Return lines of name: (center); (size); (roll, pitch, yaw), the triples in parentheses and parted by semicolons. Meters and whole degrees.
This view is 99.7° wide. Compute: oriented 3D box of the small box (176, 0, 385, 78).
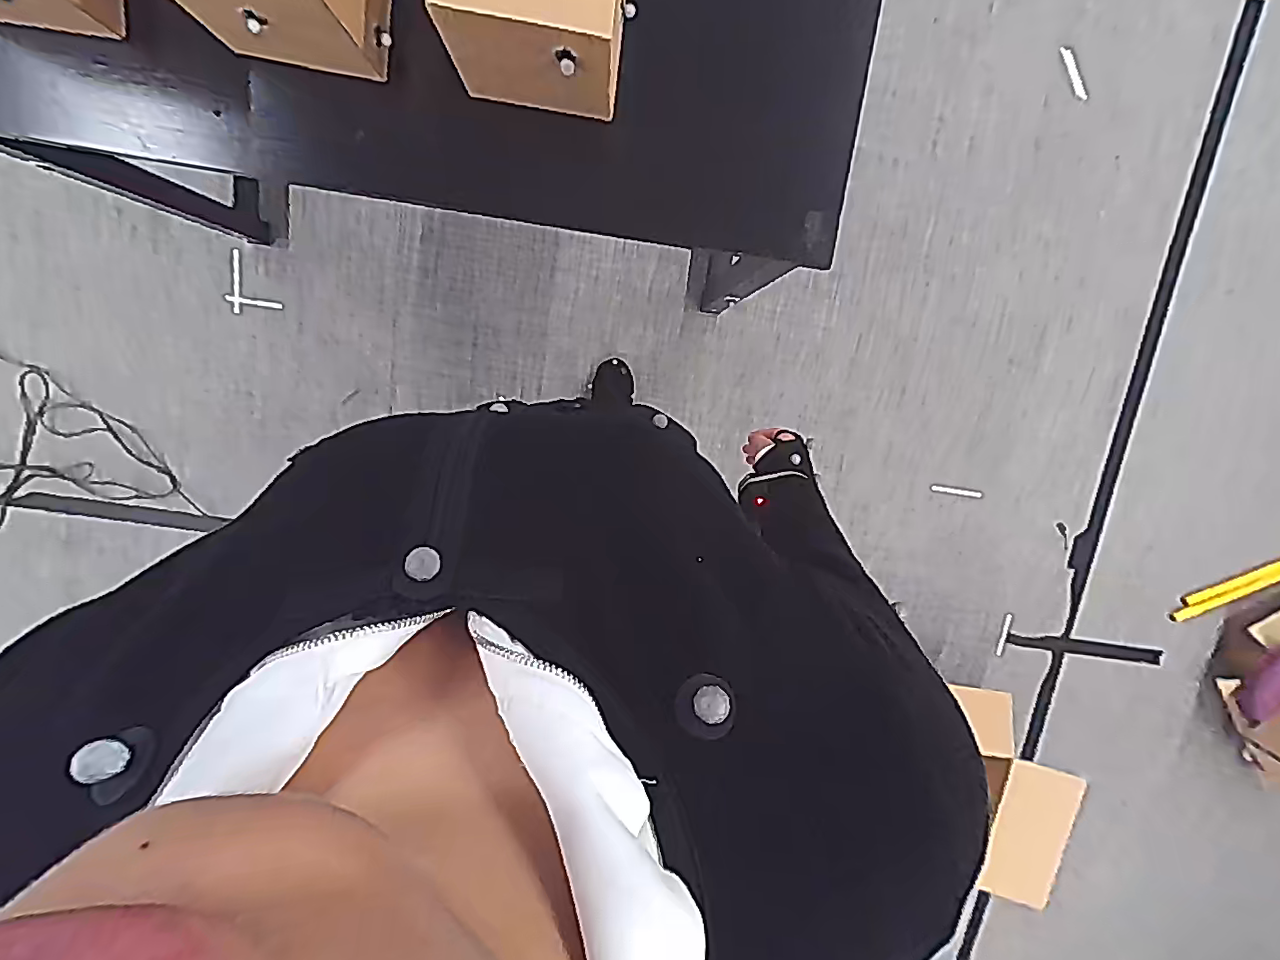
small box: (-0.373, -0.551, 0.550); (0.179, 0.176, 0.168); (8, 100, -4)

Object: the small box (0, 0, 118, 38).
small box: (-0.666, -0.580, 0.530); (0.179, 0.176, 0.168); (5, 99, -4)

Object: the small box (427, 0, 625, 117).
small box: (-0.105, -0.518, 0.571); (0.179, 0.176, 0.168); (7, 99, -4)
